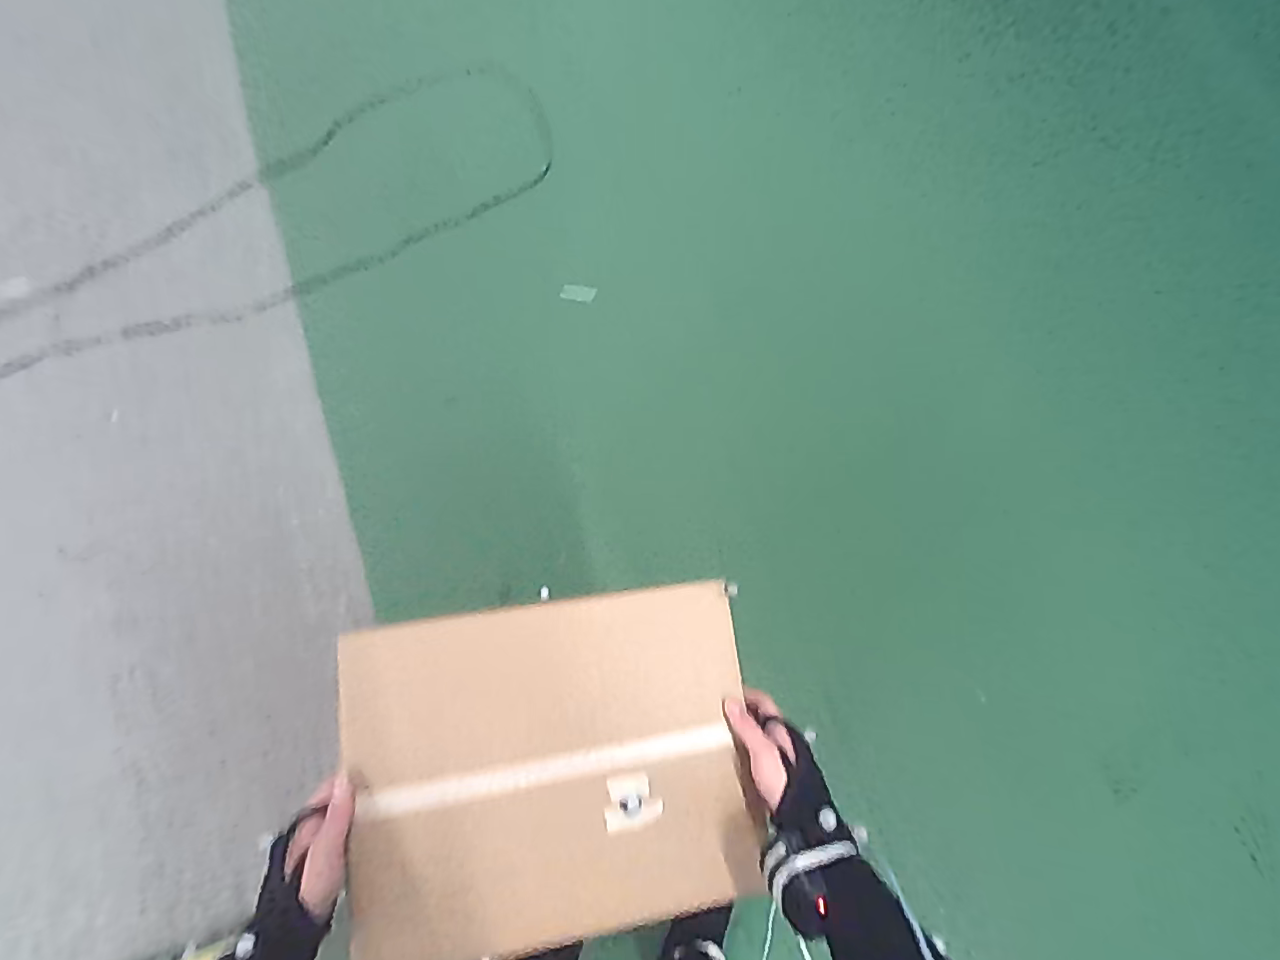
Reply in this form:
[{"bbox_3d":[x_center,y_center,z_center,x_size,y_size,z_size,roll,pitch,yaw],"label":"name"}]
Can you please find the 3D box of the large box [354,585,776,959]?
[{"bbox_3d":[-0.097,0.321,0.690,0.408,0.320,0.320,-5,79,-11],"label":"large box"}]
